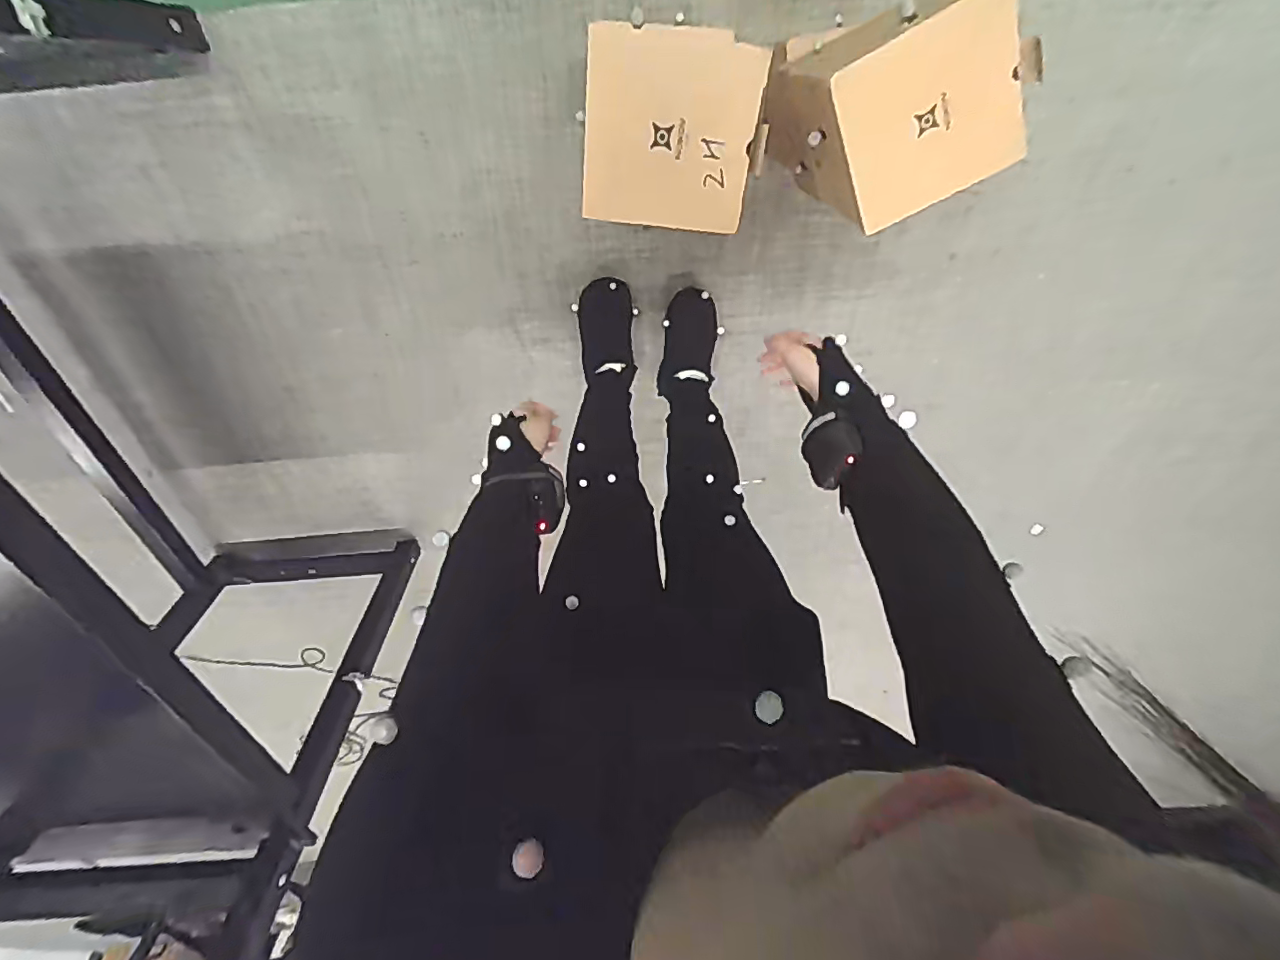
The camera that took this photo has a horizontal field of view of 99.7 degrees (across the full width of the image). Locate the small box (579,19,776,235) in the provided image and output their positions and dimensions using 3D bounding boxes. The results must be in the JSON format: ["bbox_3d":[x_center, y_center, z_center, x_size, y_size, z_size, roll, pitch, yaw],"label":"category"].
[{"bbox_3d":[0.029,-0.385,0.599,0.179,0.176,0.168,4,127,-4],"label":"small box"}]

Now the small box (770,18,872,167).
[{"bbox_3d":[0.306,-0.610,0.852,0.179,0.176,0.168,-10,127,5],"label":"small box"}]

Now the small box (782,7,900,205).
[{"bbox_3d":[0.303,-0.503,0.729,0.179,0.176,0.168,-20,127,12],"label":"small box"}]

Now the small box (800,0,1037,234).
[{"bbox_3d":[0.292,-0.407,0.597,0.179,0.176,0.168,-24,125,15],"label":"small box"}]
